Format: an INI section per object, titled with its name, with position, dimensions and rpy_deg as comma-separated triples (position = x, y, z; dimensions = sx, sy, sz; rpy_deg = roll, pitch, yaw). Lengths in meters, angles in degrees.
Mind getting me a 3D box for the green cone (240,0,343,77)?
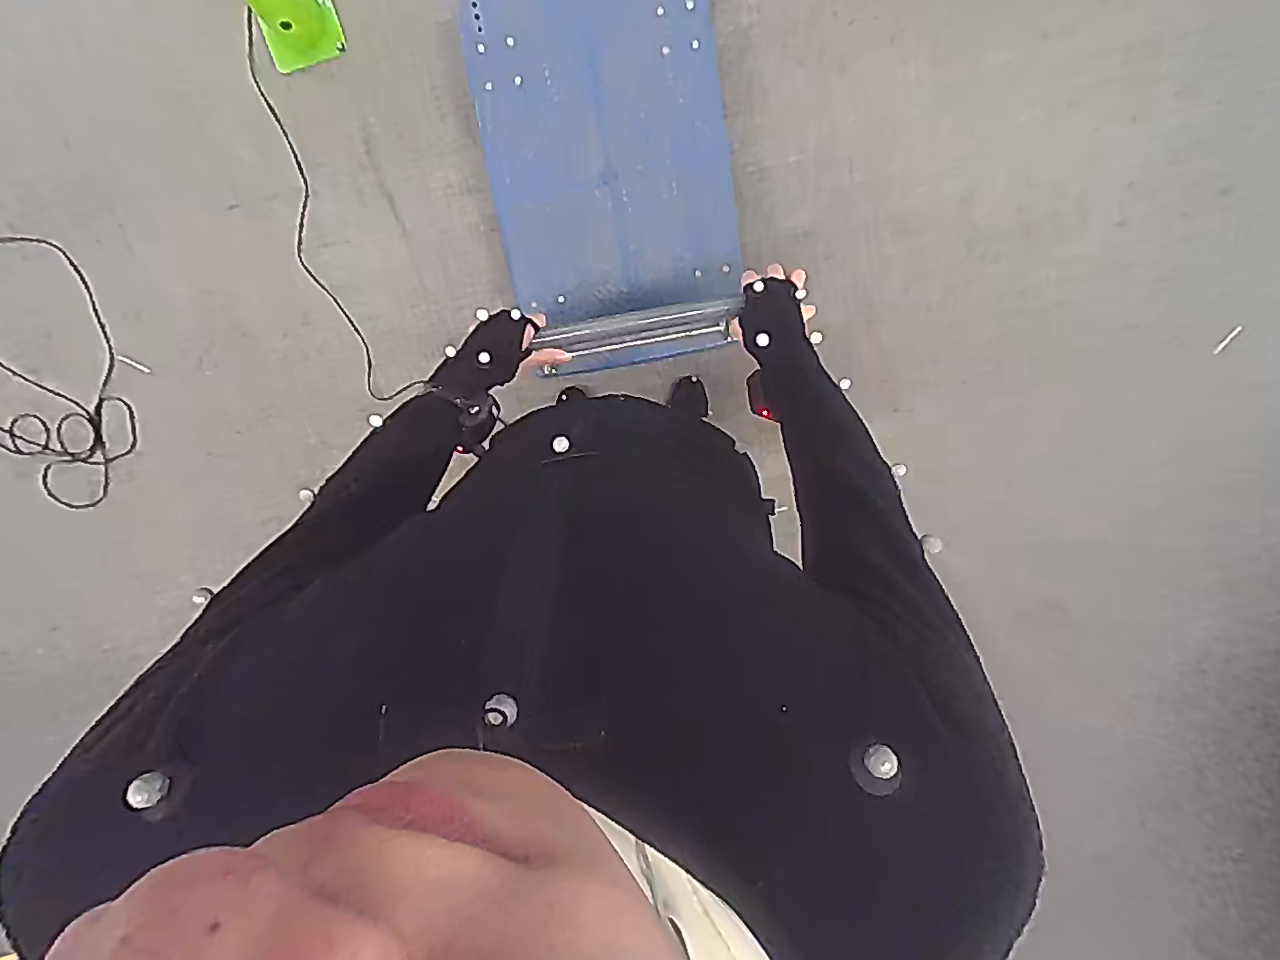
[green cone]
position = -0.894, -1.140, 1.227
dimensions = 0.202, 0.368, 0.200
rpy_deg = -16, 101, 6
